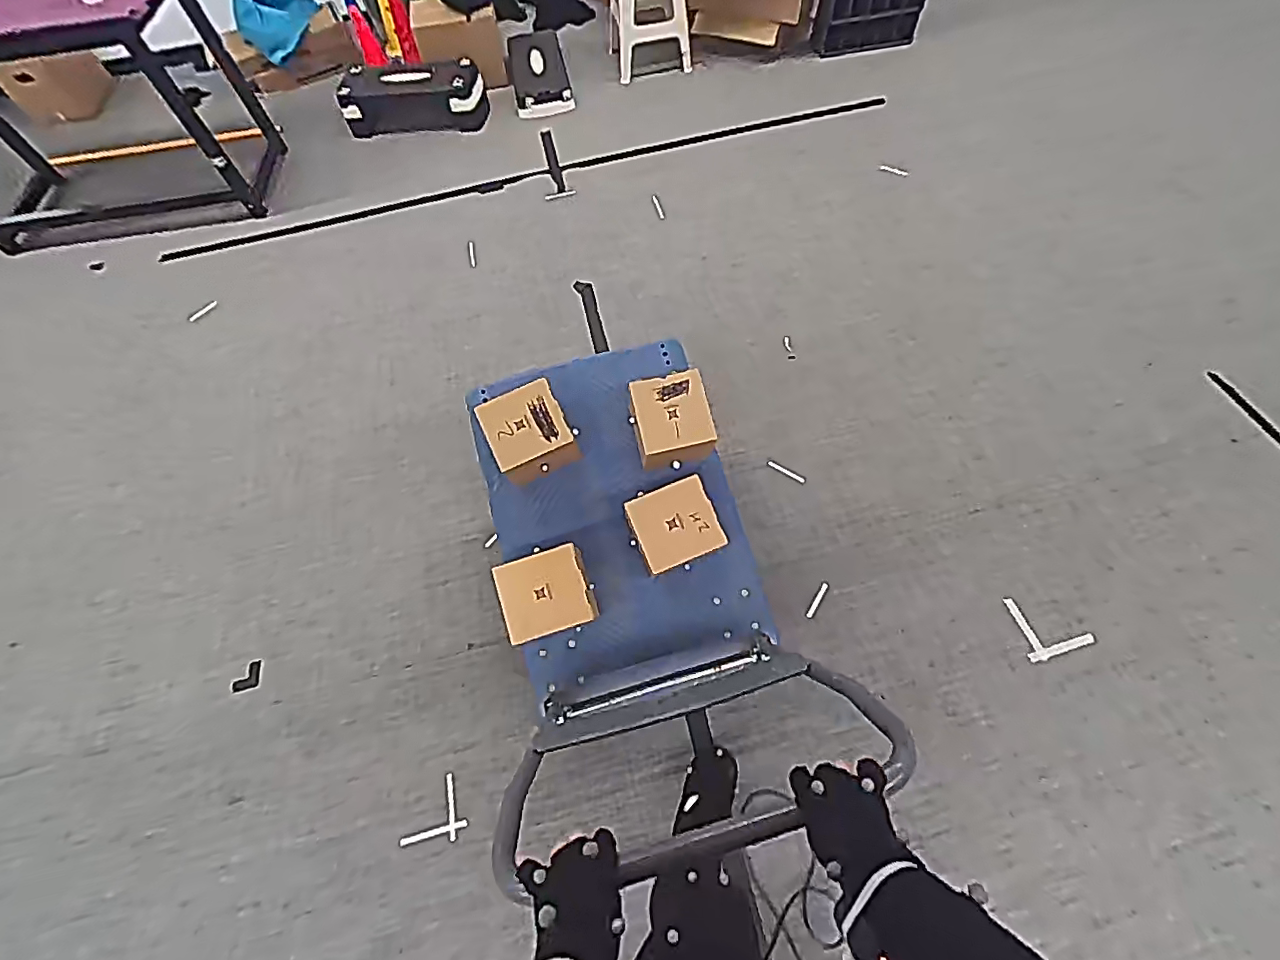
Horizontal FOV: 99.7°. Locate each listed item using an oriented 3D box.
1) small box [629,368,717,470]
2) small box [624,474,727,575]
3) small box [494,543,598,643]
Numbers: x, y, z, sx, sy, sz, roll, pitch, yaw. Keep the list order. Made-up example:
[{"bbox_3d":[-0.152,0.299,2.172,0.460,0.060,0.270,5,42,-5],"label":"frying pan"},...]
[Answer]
[{"bbox_3d":[0.071,-0.138,1.279,0.168,0.176,0.179,-13,79,-3],"label":"small box"},{"bbox_3d":[0.076,0.109,1.223,0.179,0.176,0.168,-22,78,-5],"label":"small box"},{"bbox_3d":[-0.200,0.251,1.190,0.179,0.176,0.168,-18,78,-6],"label":"small box"}]
